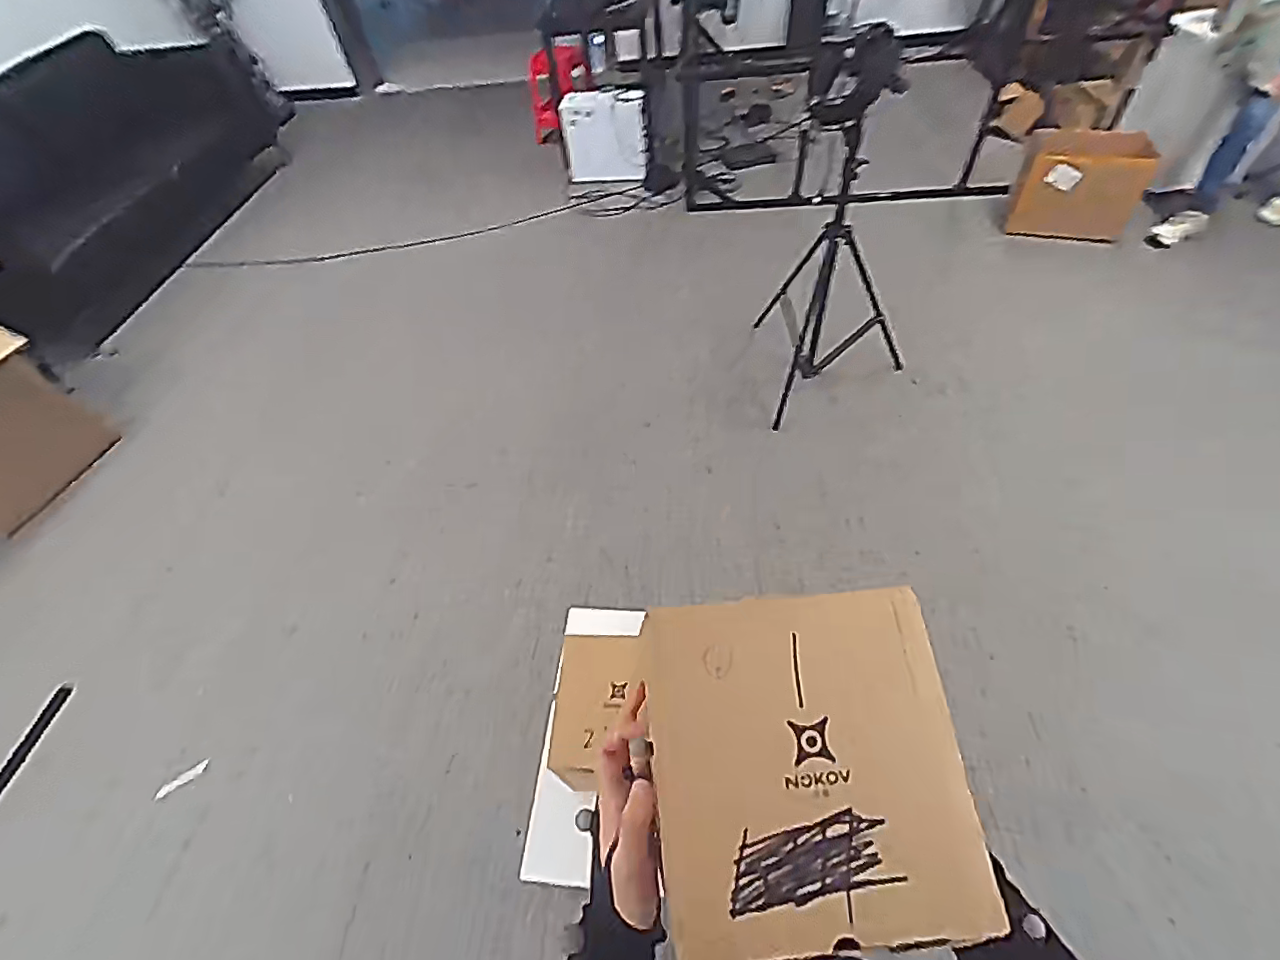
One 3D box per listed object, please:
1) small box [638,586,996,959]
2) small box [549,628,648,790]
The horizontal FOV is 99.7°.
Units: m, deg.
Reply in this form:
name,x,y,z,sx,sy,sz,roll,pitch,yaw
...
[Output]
name,x,y,z,sx,sy,sz,roll,pitch,yaw
small box,0.088,0.177,0.369,0.168,0.176,0.179,-5,70,-4
small box,-0.021,0.329,0.774,0.168,0.176,0.179,0,53,6
